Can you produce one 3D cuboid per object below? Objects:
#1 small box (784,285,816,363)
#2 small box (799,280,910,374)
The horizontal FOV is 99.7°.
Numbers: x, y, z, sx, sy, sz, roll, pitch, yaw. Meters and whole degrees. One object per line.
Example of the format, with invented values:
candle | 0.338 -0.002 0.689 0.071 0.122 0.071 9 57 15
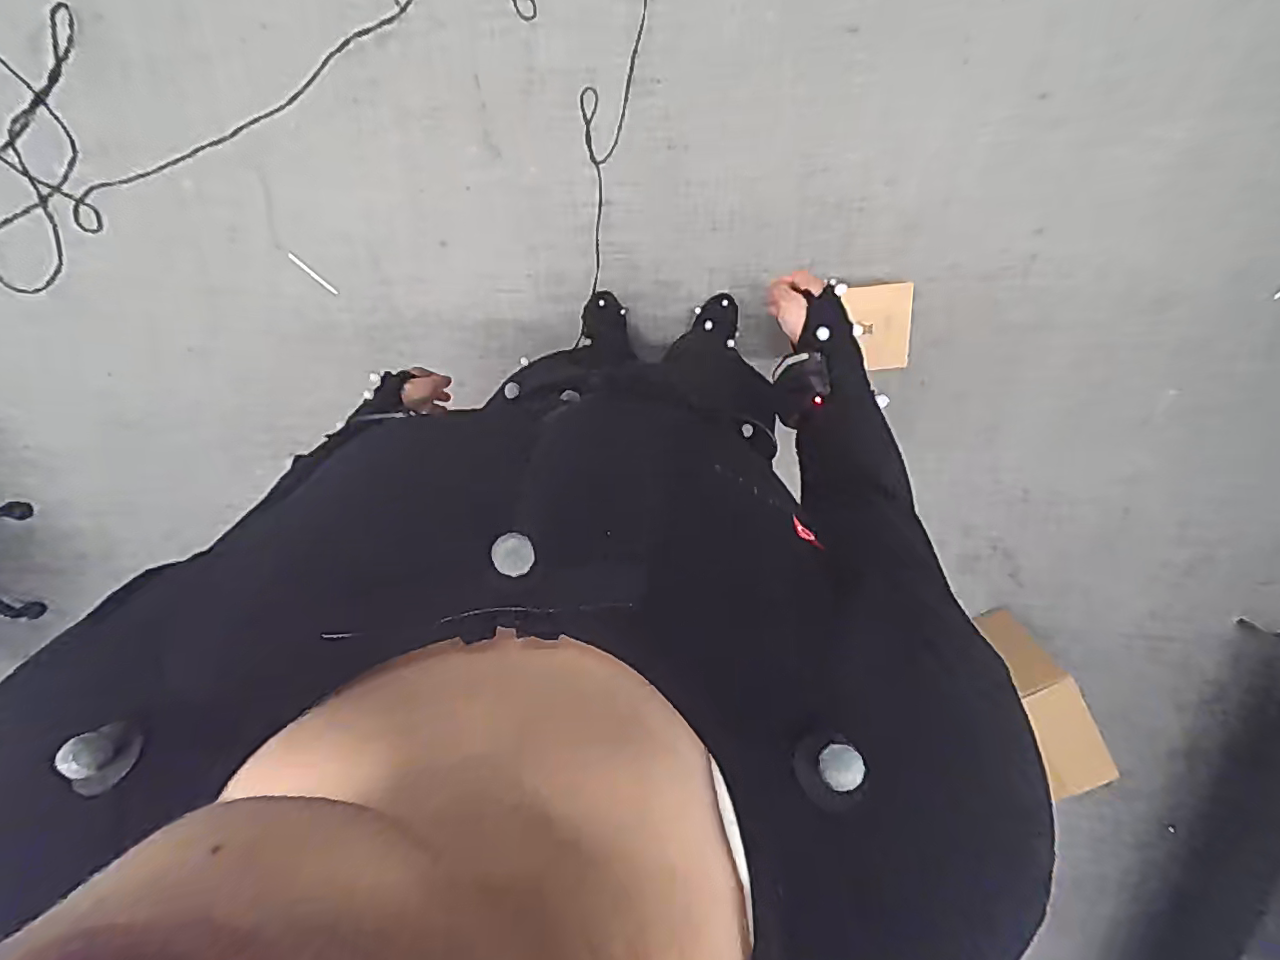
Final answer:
small box | 0.448 -0.378 1.301 0.179 0.176 0.168 -3 112 3
small box | 0.443 -0.328 1.146 0.179 0.176 0.168 -6 113 3
